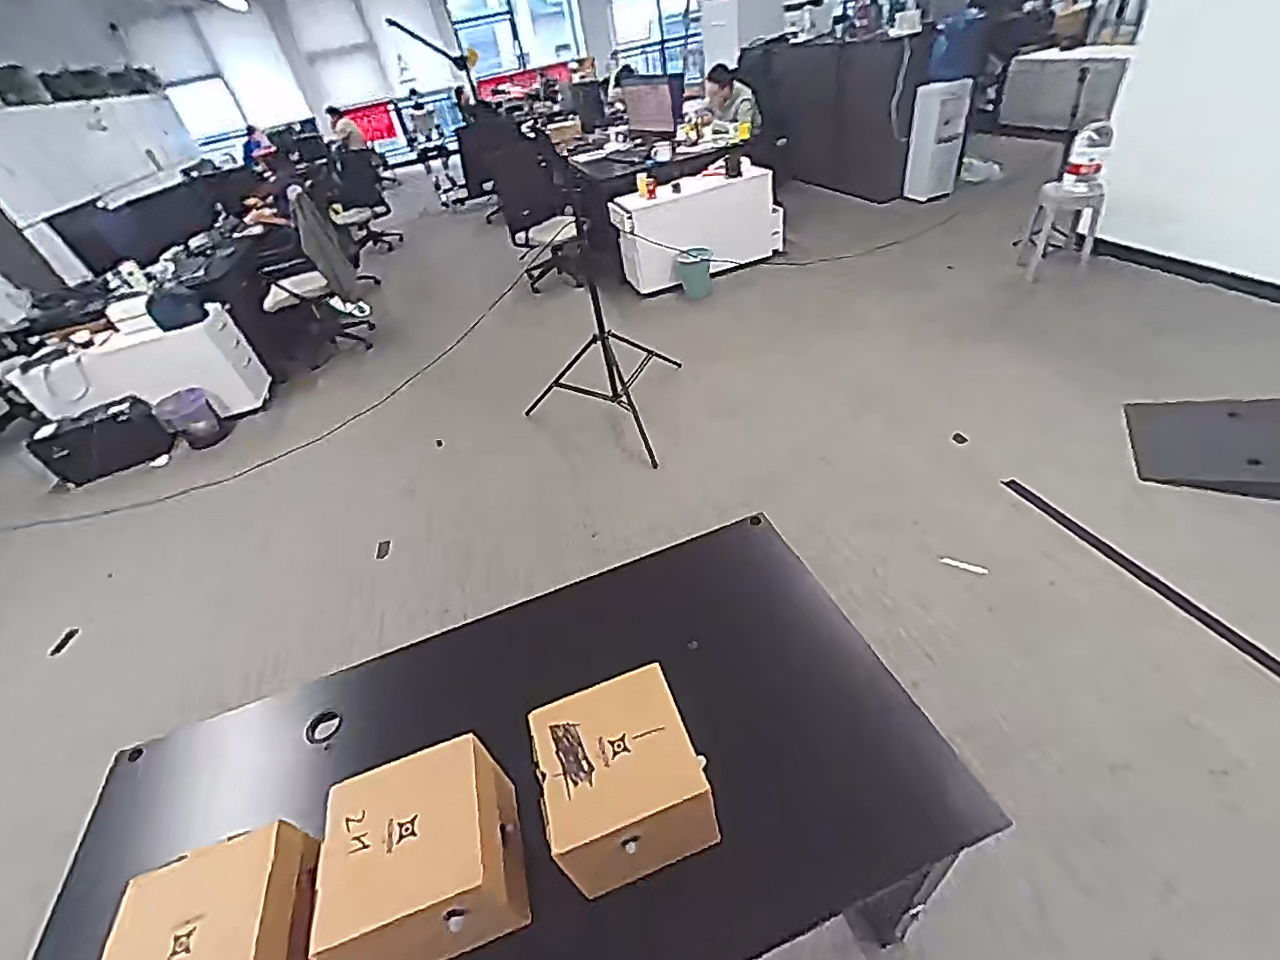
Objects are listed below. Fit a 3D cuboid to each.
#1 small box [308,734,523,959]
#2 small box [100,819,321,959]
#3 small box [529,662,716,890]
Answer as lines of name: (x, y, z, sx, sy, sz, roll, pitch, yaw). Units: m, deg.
small box: (-0.247, 0.441, 0.637, 0.179, 0.176, 0.168, -19, 40, -8)
small box: (-0.447, 0.522, 0.595, 0.168, 0.176, 0.179, -21, 41, -8)
small box: (-0.020, 0.365, 0.668, 0.179, 0.176, 0.168, -19, 40, -8)
